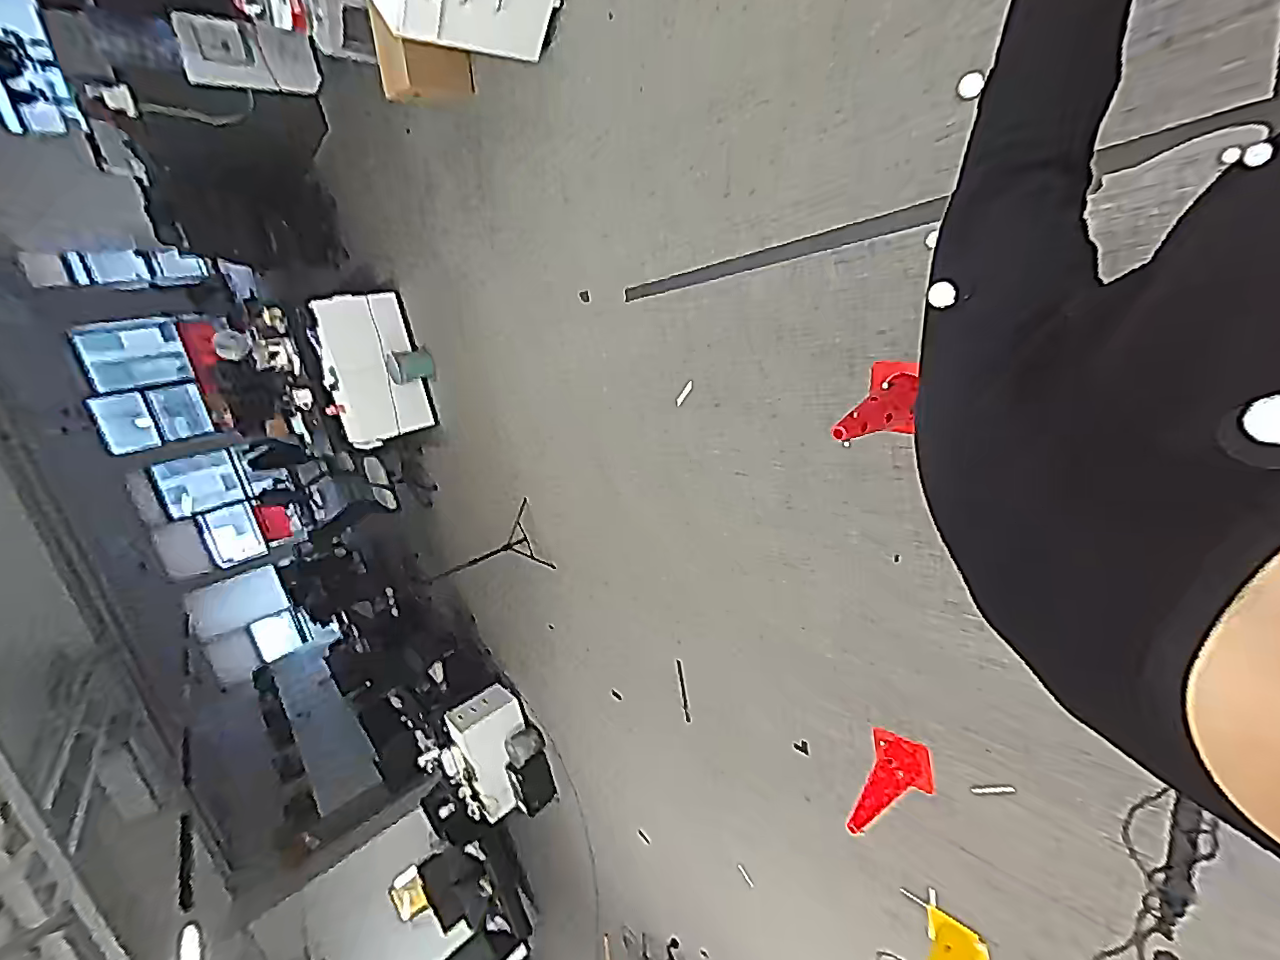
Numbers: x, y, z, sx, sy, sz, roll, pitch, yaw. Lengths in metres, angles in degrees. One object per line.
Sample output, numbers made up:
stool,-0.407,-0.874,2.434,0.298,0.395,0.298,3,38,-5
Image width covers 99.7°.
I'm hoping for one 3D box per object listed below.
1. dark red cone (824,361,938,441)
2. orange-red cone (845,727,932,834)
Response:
dark red cone,0.585,-0.169,1.375,0.201,0.394,0.202,16,121,46
orange-red cone,0.795,1.041,1.804,0.198,0.360,0.199,6,114,51
